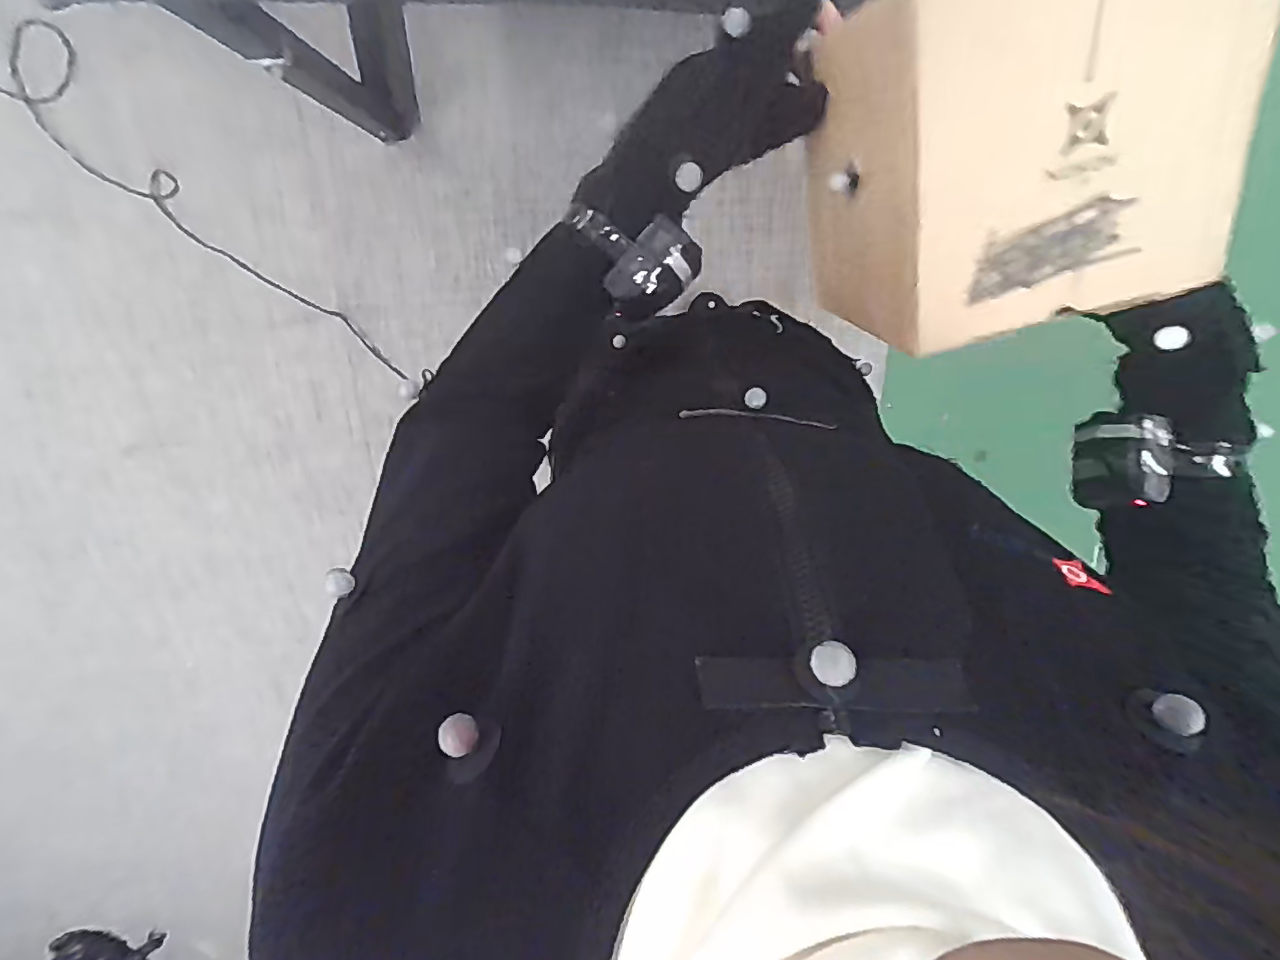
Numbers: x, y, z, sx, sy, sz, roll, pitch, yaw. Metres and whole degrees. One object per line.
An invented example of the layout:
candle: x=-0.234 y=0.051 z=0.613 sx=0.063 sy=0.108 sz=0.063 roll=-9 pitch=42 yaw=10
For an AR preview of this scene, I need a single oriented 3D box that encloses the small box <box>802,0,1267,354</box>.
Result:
small box: x=0.214 y=-0.202 z=0.346 sx=0.168 sy=0.176 sz=0.179 roll=-13 pitch=117 yaw=4
